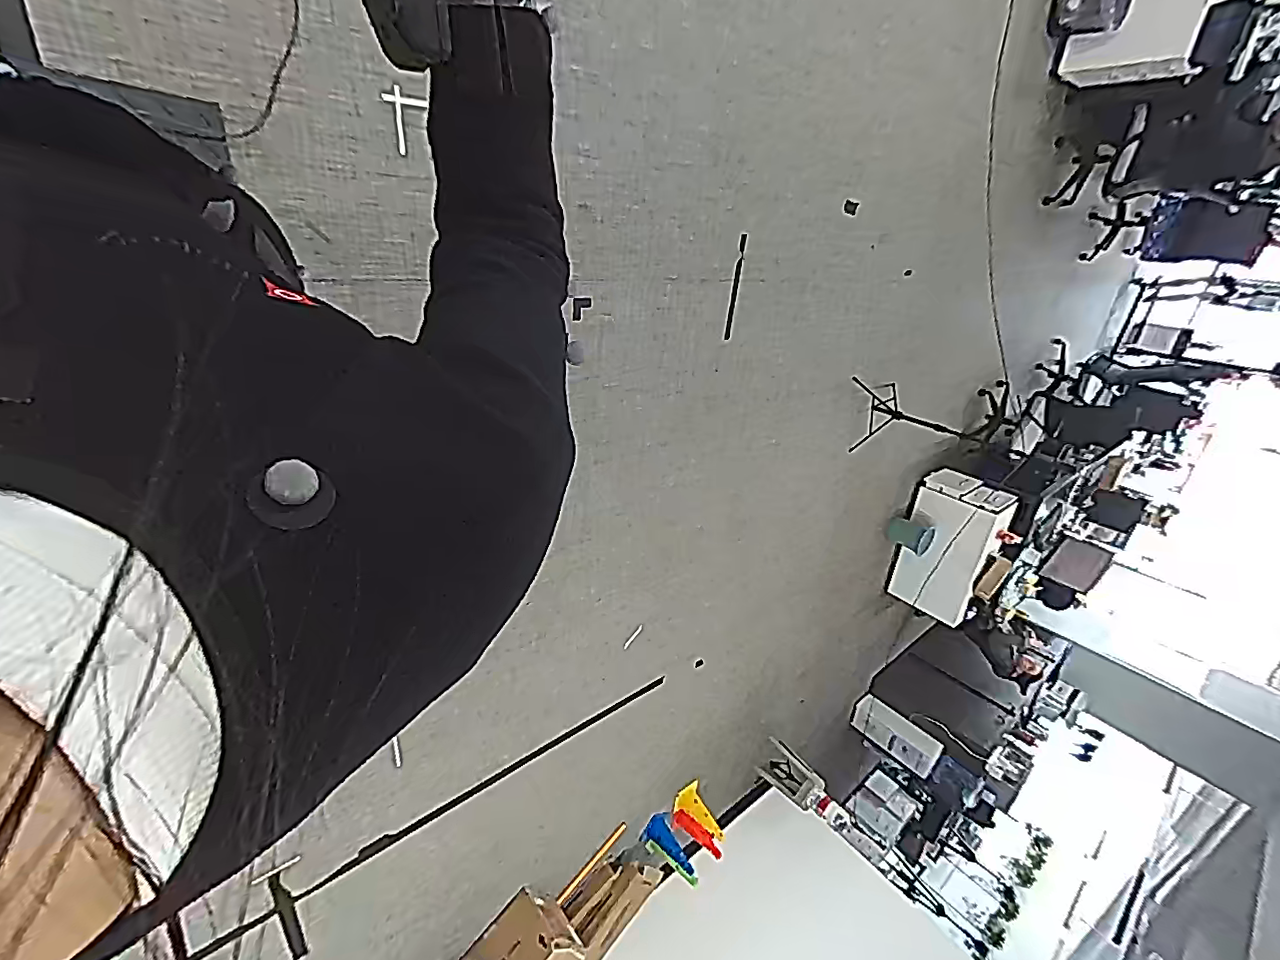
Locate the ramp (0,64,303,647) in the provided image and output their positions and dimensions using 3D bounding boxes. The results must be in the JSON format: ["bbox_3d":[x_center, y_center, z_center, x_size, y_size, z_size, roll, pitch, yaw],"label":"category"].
[{"bbox_3d":[-1.011,-0.206,1.036,0.509,0.206,0.991,-14,120,-36],"label":"ramp"}]
